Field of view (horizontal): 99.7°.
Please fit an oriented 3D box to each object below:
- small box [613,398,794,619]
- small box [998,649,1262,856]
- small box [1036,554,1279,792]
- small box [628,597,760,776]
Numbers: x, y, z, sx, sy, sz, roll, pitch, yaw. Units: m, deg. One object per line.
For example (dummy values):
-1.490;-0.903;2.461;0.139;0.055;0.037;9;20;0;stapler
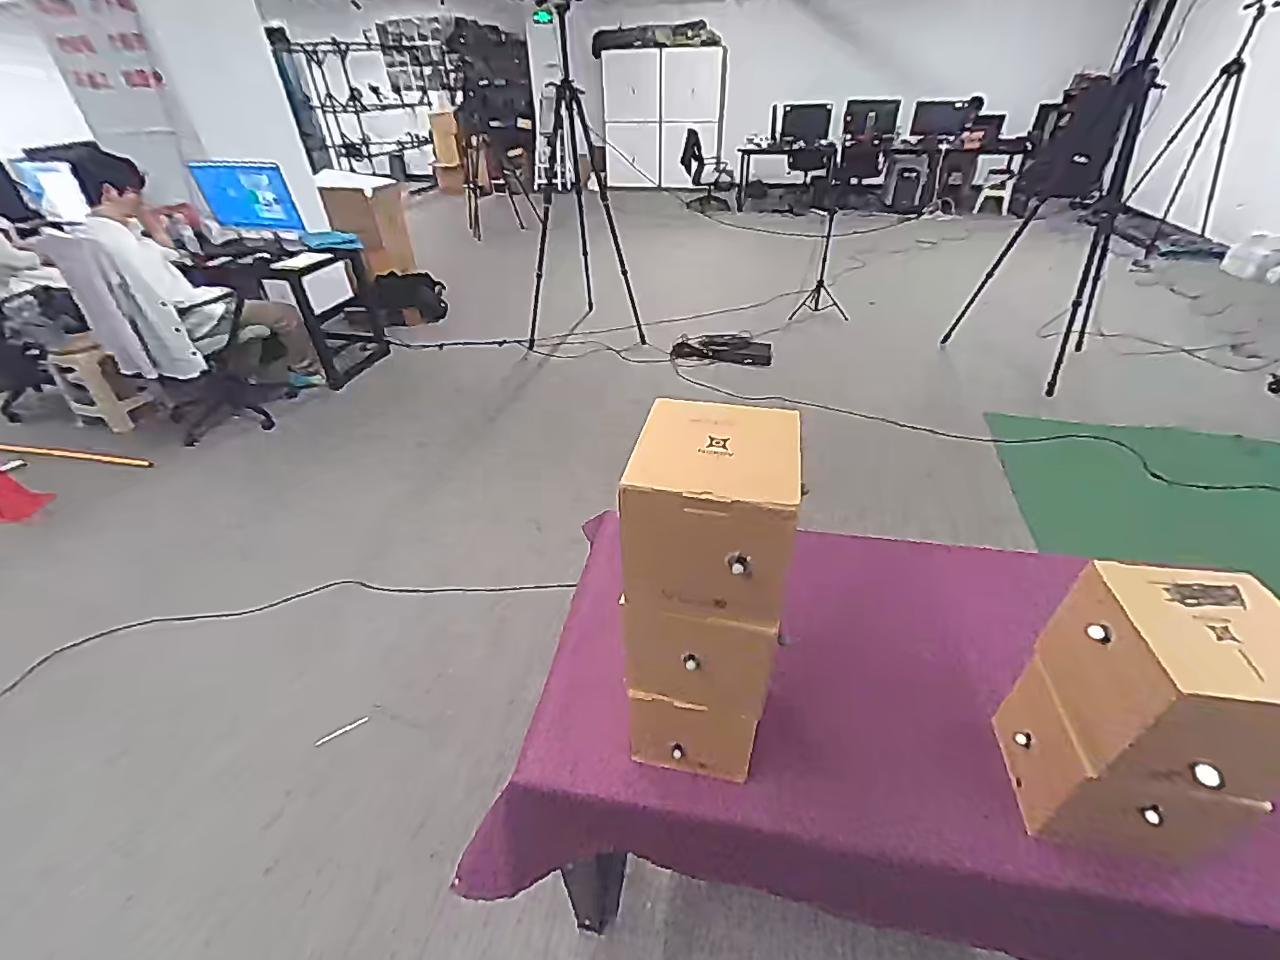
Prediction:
0.076;0.028;0.599;0.168;0.176;0.179;7;37;11;small box
0.590;0.346;0.691;0.179;0.176;0.168;6;38;11;small box
0.586;0.208;0.600;0.168;0.176;0.179;4;37;9;small box
0.081;0.294;0.791;0.168;0.176;0.179;6;38;10;small box
